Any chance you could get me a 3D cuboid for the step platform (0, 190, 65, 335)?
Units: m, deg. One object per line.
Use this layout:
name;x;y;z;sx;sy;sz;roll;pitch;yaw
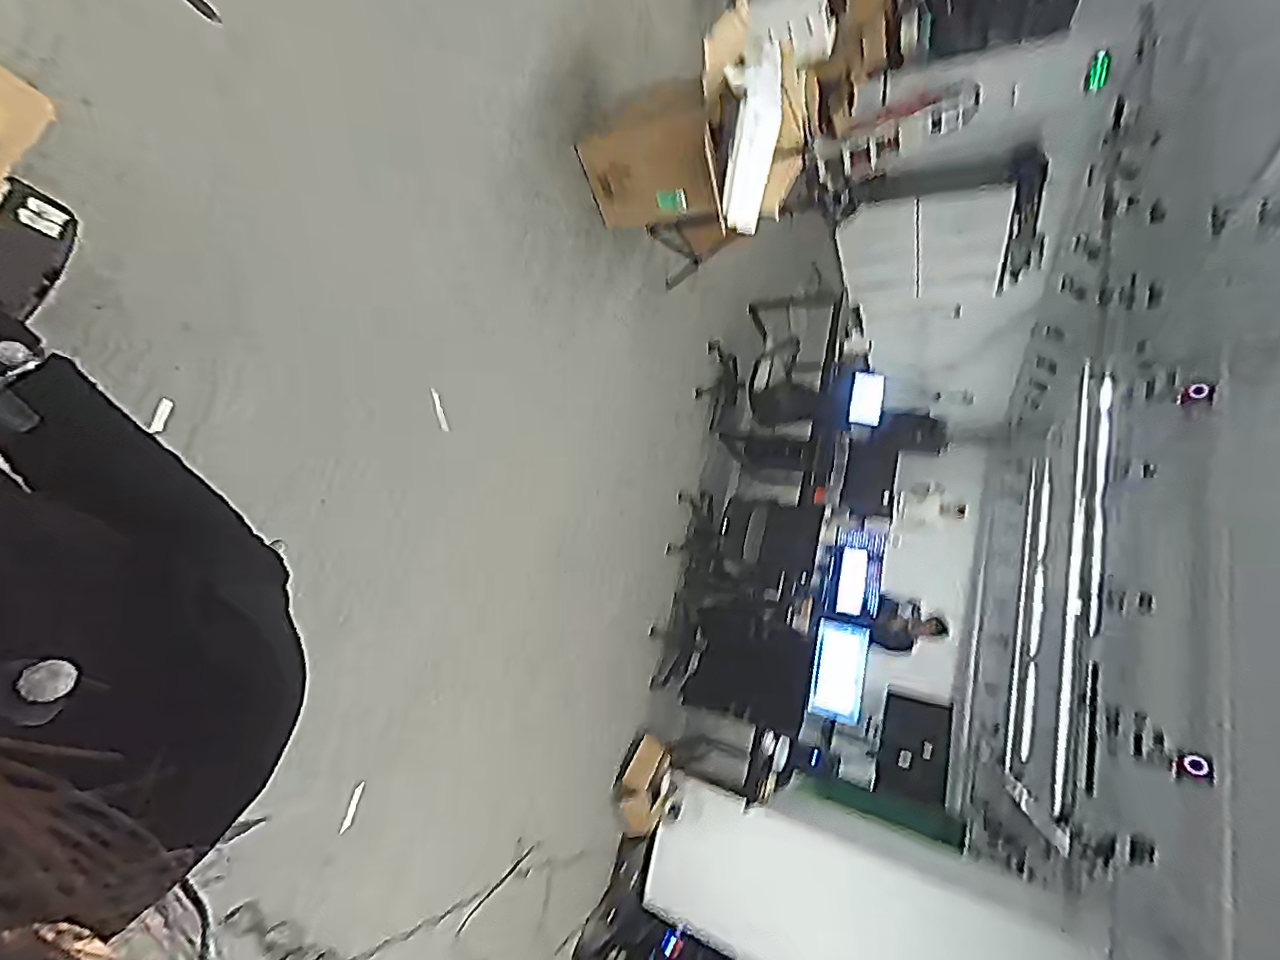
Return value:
step platform;-1.227;-0.451;0.682;0.684;0.204;0.286;45;57;-53
